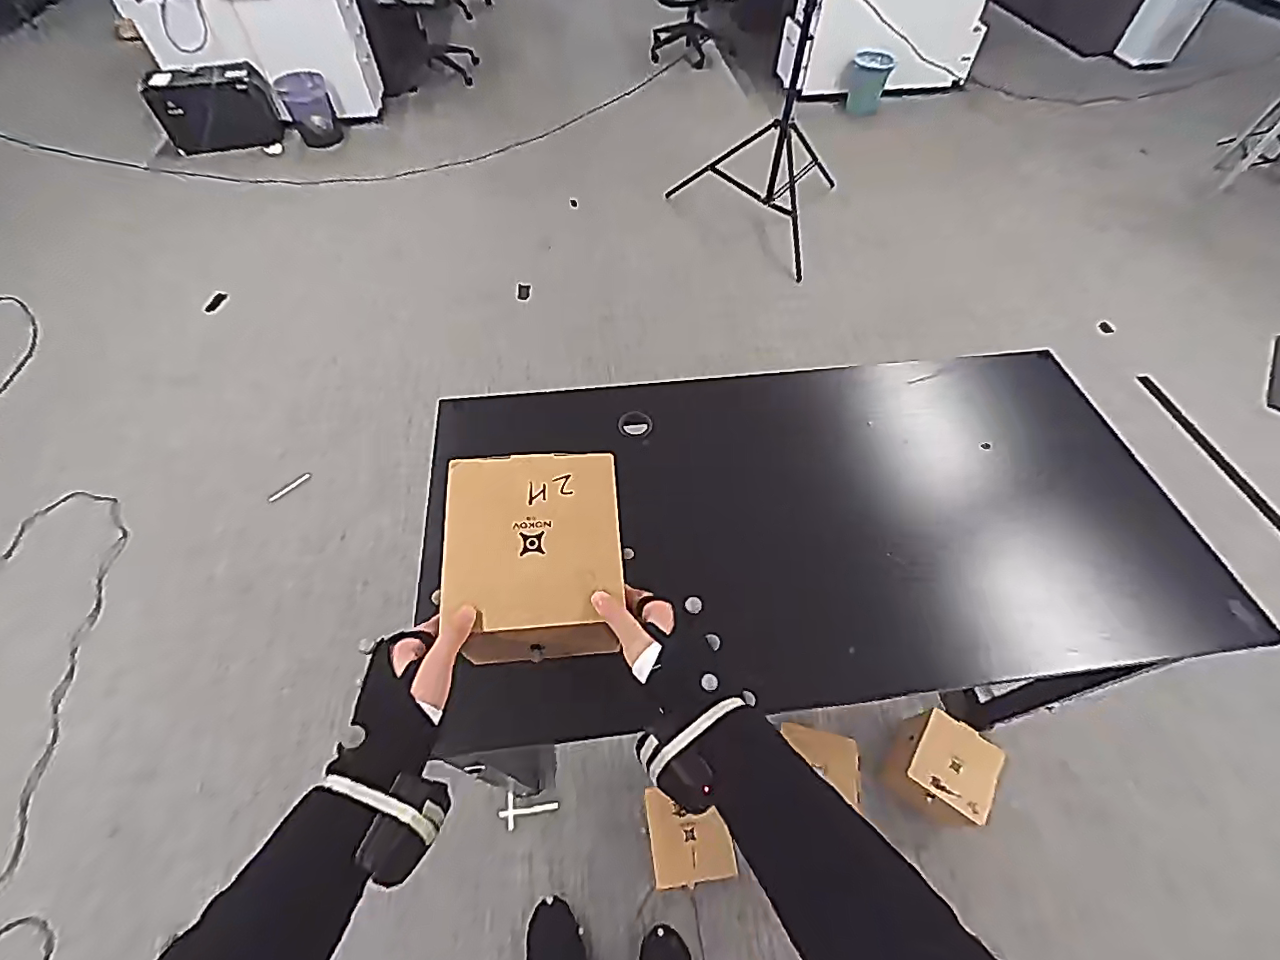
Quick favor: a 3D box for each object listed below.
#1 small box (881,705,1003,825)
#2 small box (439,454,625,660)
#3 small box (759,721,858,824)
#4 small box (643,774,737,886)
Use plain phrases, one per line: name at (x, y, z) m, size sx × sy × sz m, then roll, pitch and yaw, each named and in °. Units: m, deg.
small box at (0.685, 0.656, 1.242) m, size 0.168 × 0.176 × 0.179 m, roll 31°, pitch 61°, yaw 19°
small box at (-0.105, 0.091, 0.579) m, size 0.168 × 0.176 × 0.179 m, roll -3°, pitch 63°, yaw -7°
small box at (0.382, 0.671, 1.233) m, size 0.179 × 0.176 × 0.168 m, roll 11°, pitch 55°, yaw 8°
small box at (0.099, 0.755, 1.170) m, size 0.168 × 0.176 × 0.179 m, roll -7°, pitch 57°, yaw -5°
